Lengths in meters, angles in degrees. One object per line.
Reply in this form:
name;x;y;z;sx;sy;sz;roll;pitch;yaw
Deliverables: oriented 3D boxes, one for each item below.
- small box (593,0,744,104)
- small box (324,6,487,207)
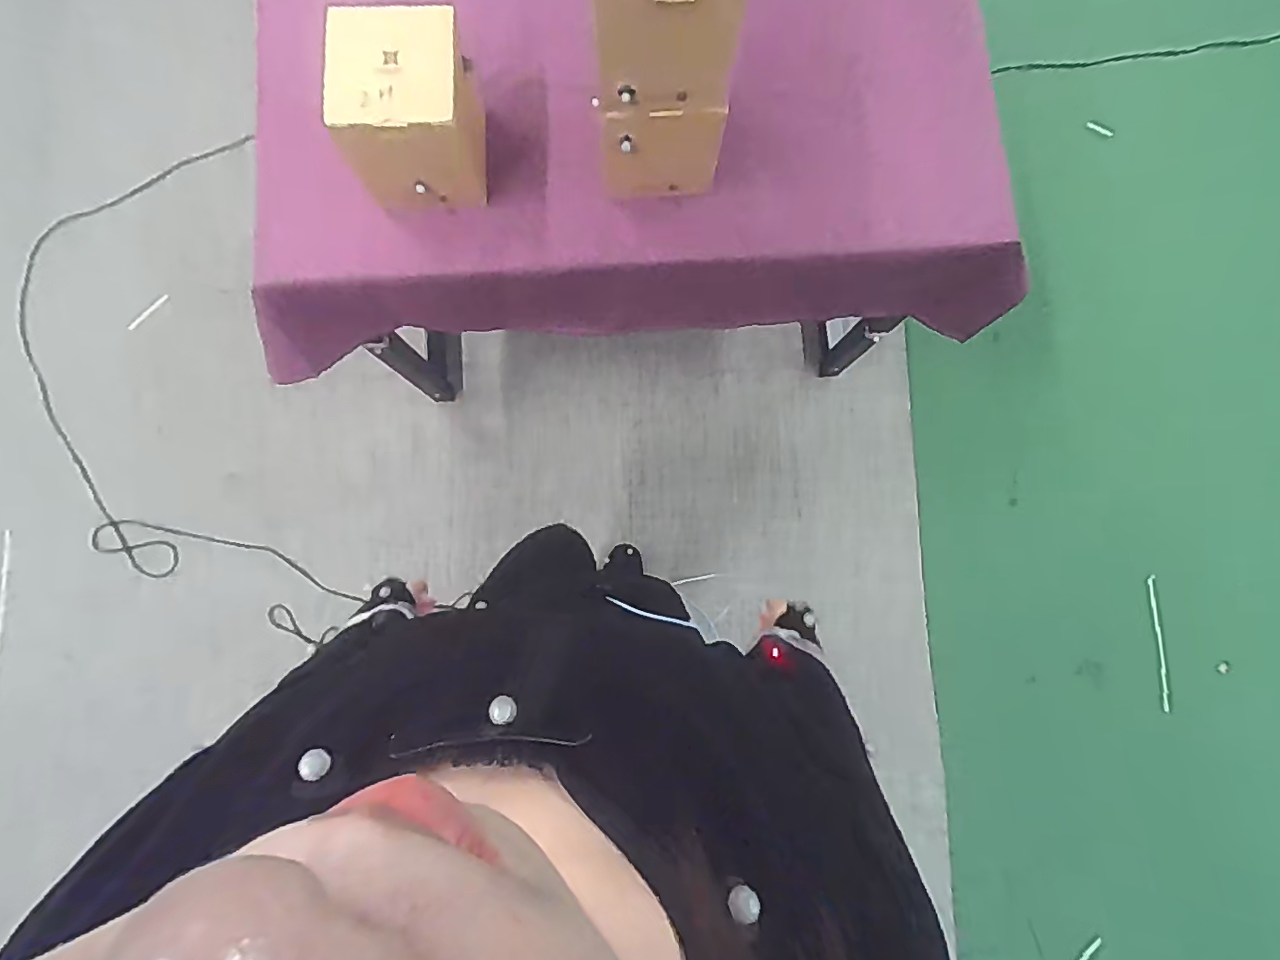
small box;0.028;-0.574;0.627;0.168;0.176;0.179;-4;81;-2
small box;-0.323;-0.525;0.777;0.168;0.176;0.179;-2;83;-1
